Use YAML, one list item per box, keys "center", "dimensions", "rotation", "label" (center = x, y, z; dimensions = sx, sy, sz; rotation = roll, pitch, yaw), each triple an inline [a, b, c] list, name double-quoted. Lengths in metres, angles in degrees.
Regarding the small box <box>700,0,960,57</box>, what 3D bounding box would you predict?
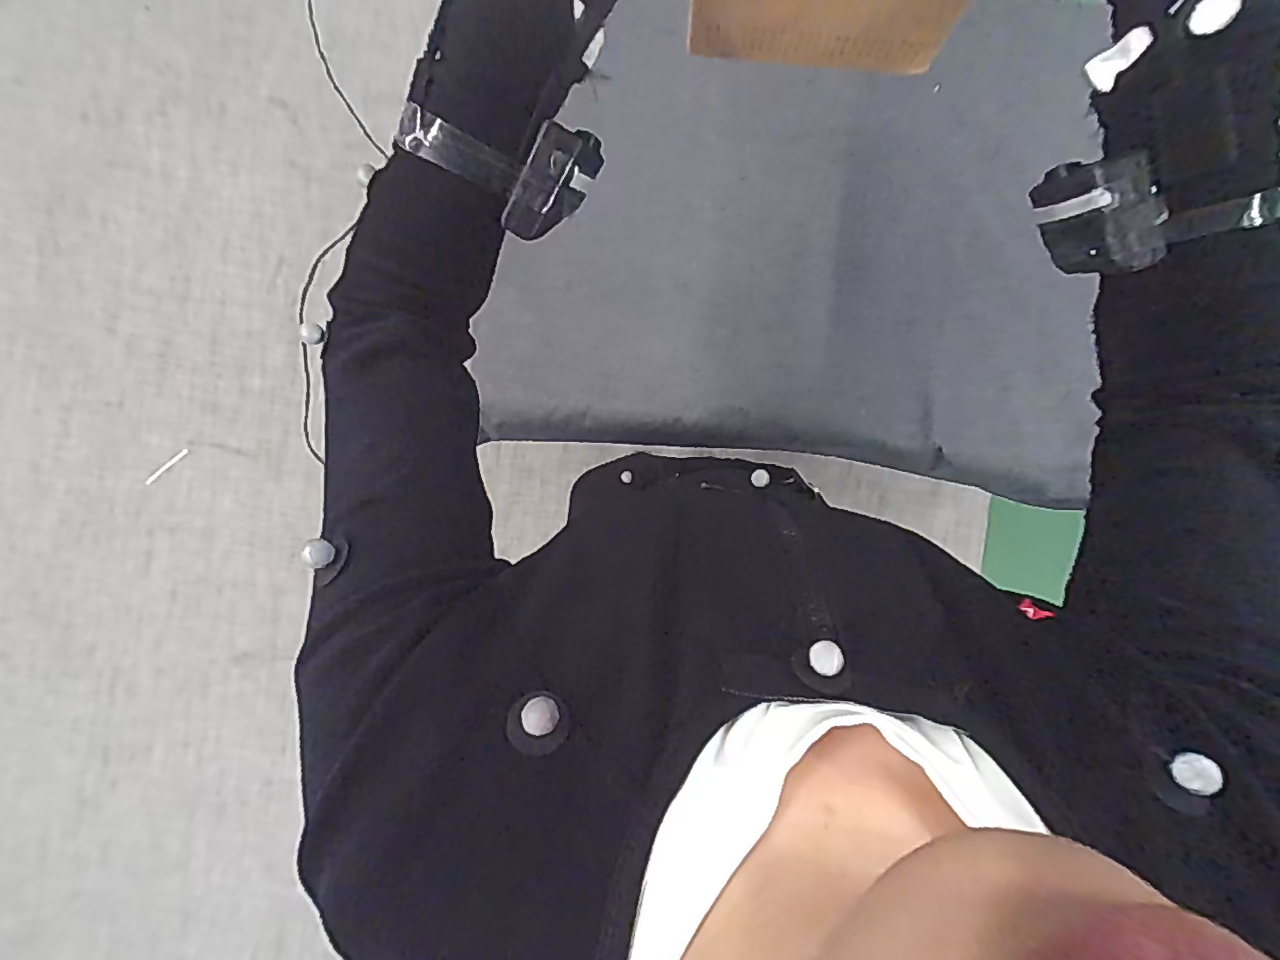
- center: [0.131, -0.390, 0.312]
  dimensions: [0.179, 0.176, 0.168]
  rotation: [5, 89, 1]
  label: "small box"
